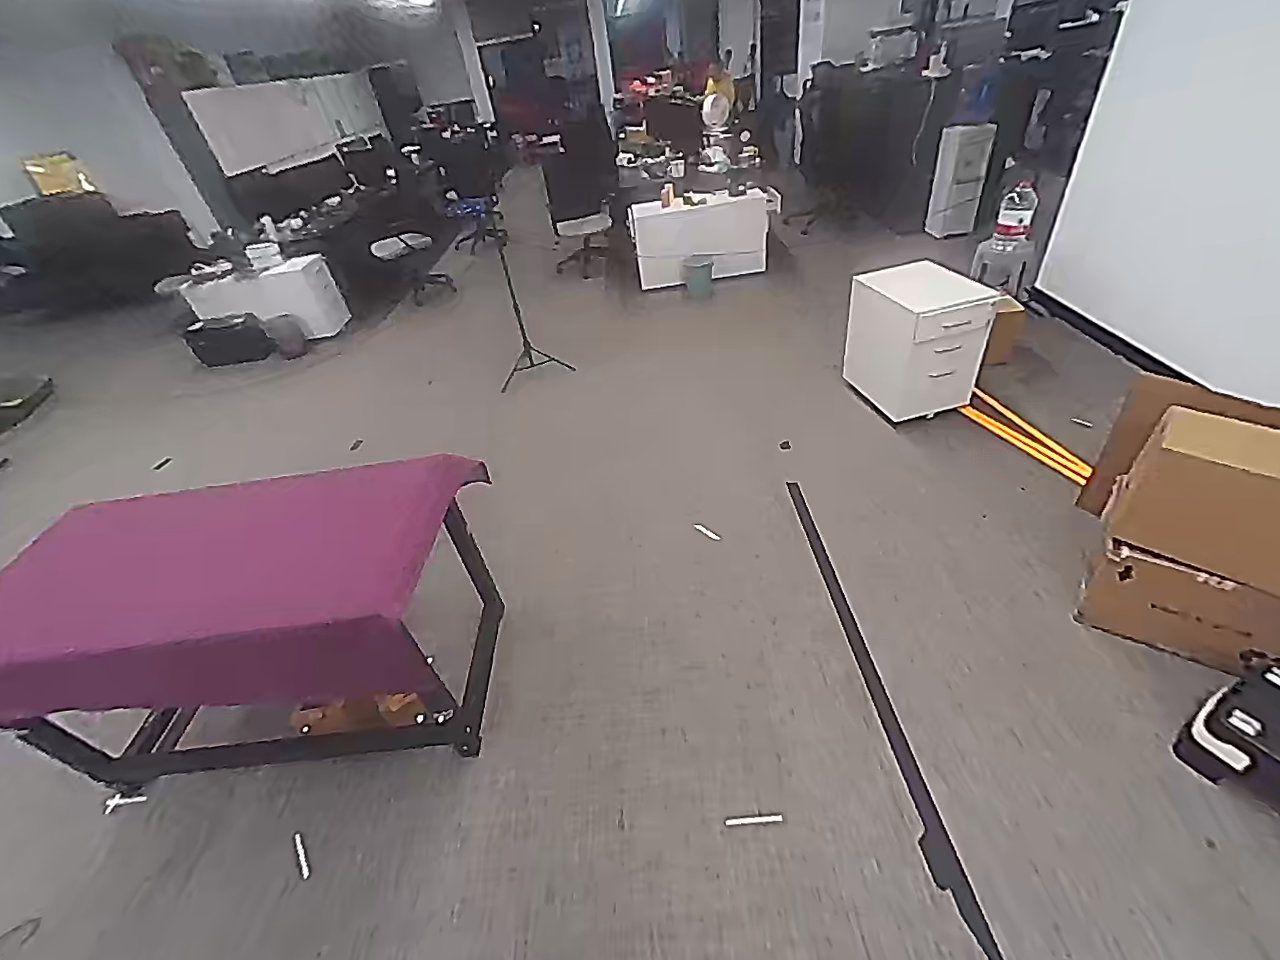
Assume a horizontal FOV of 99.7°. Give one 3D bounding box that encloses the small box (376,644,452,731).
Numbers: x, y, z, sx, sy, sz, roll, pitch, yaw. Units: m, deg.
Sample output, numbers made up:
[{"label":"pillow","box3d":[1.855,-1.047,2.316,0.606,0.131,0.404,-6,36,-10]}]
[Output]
[{"label":"small box","box3d":[-0.748,0.689,1.793,0.168,0.176,0.179,-26,41,-18]}]
